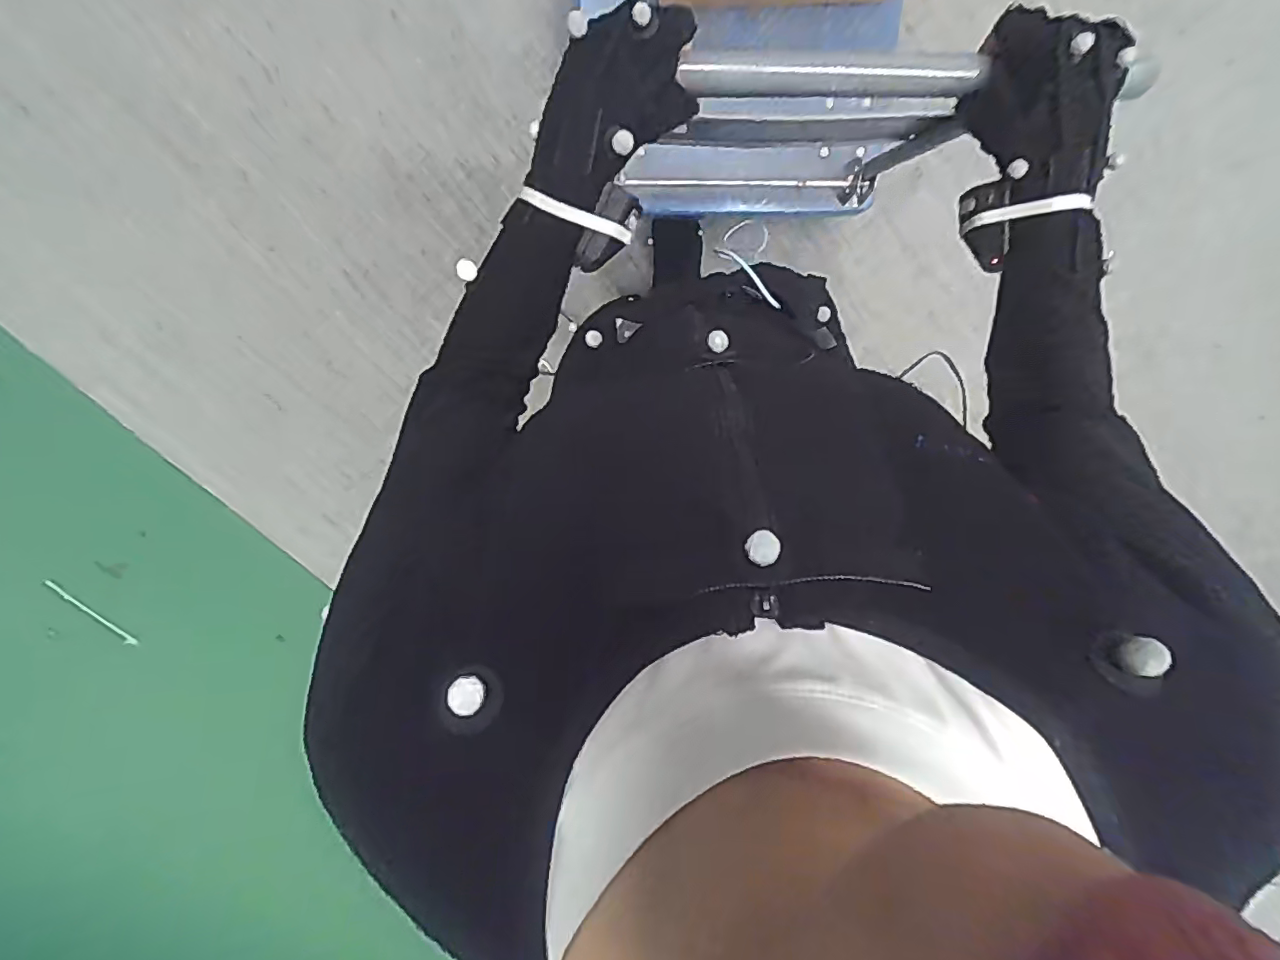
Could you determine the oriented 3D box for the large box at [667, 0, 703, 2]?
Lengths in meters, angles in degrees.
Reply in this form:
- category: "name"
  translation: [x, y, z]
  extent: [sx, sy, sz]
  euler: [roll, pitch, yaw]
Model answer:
- category: "large box"
  translation: [0.230, -0.947, 0.766]
  extent: [0.408, 0.320, 0.320]
  euler: [-2, 110, 2]
